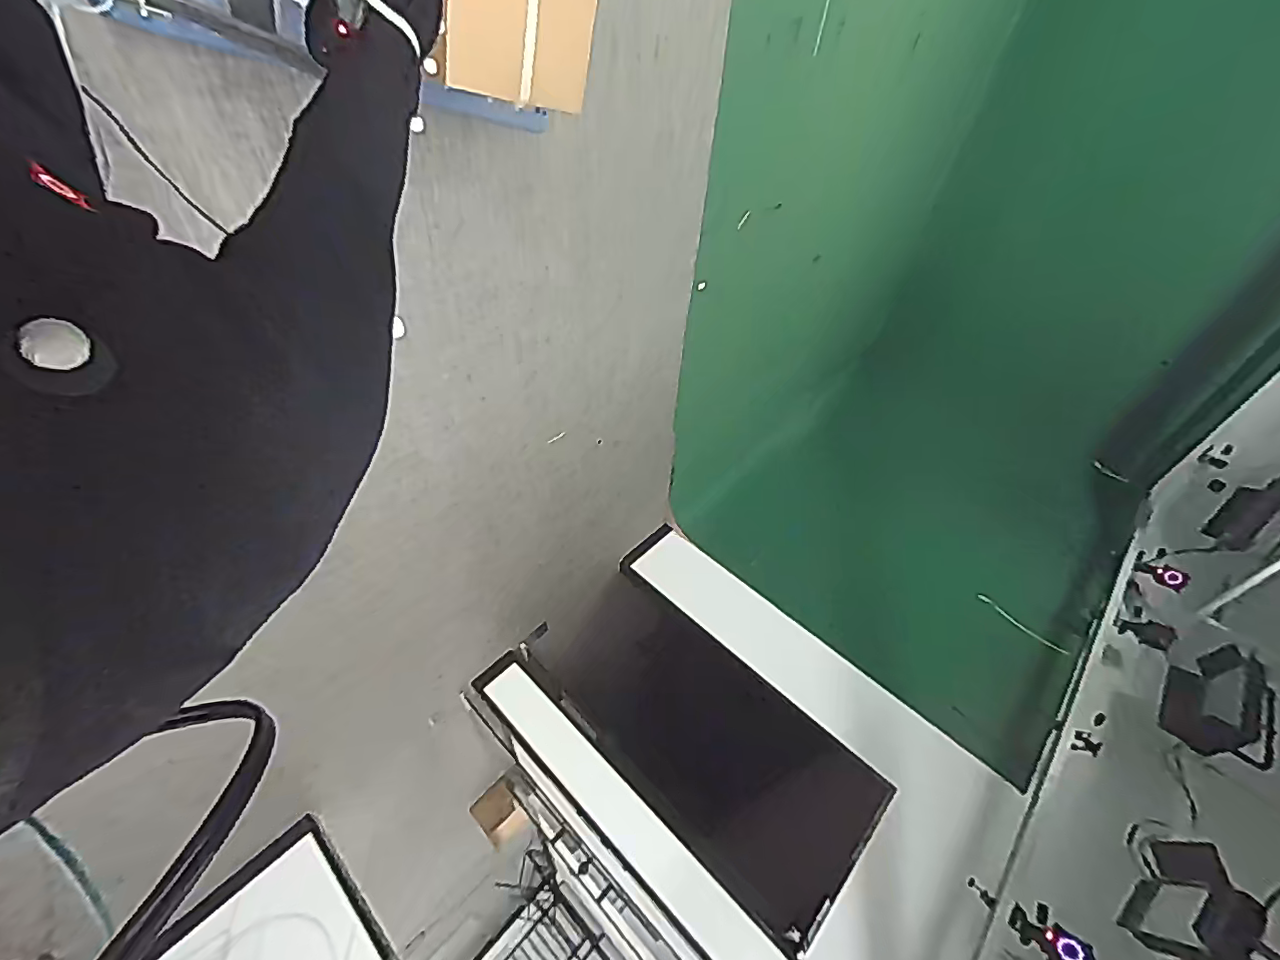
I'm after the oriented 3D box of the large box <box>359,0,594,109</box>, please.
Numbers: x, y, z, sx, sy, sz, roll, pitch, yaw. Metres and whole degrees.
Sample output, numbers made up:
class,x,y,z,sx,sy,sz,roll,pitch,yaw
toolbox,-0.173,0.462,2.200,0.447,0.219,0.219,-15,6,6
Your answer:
class,x,y,z,sx,sy,sz,roll,pitch,yaw
large box,-0.287,-0.943,0.960,0.320,0.320,0.408,-26,142,-44
